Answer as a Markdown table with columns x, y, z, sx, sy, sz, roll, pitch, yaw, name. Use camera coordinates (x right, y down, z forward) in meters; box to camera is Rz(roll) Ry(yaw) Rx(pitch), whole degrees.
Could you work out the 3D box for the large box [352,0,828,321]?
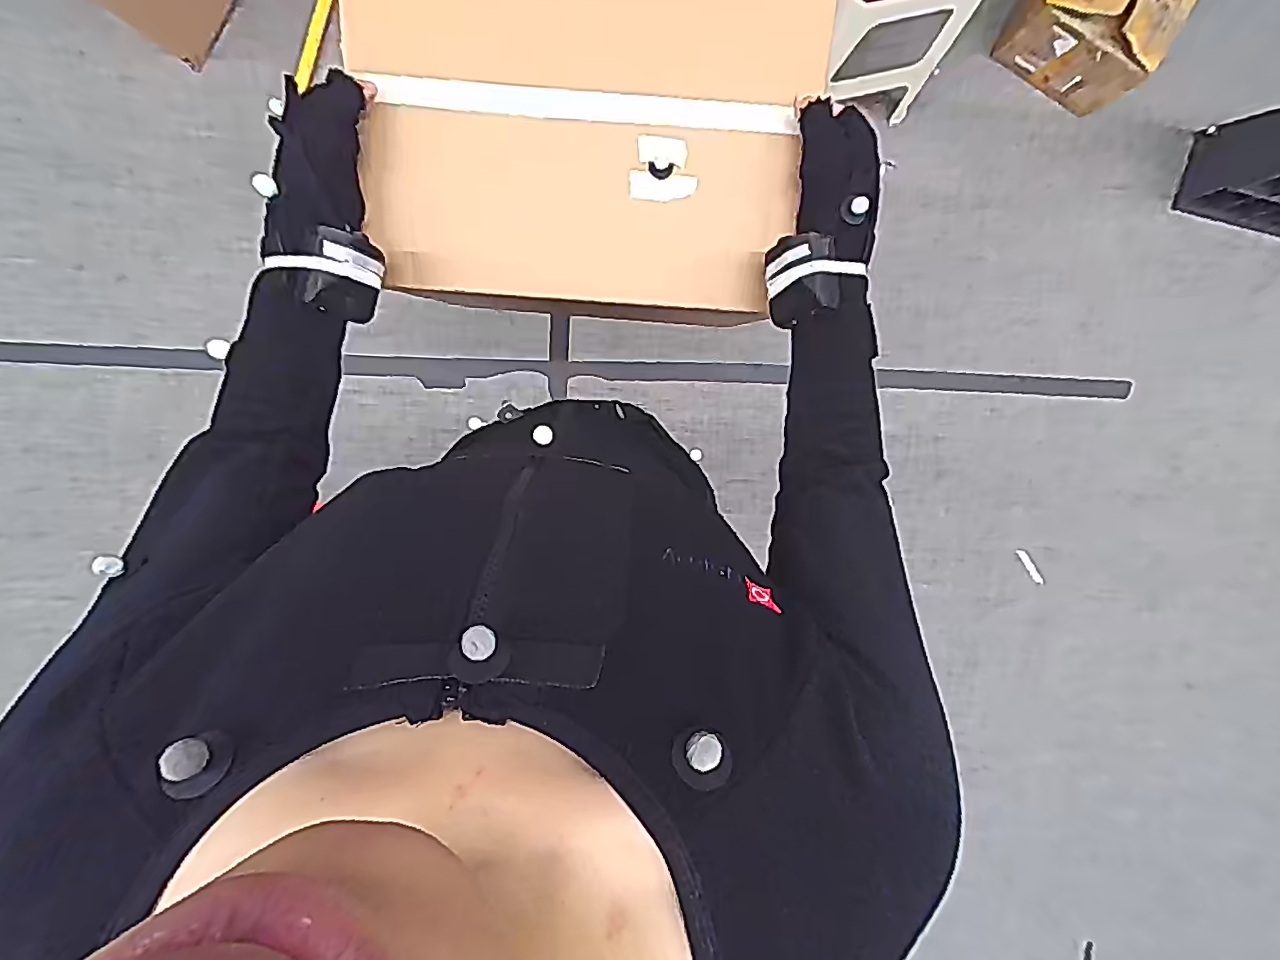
| x | y | z | sx | sy | sz | roll | pitch | yaw | name |
| --- | --- | --- | --- | --- | --- | --- | --- | --- | --- |
| -0.050 | -0.357 | 0.612 | 0.408 | 0.320 | 0.320 | 3 | 104 | -3 | large box |
